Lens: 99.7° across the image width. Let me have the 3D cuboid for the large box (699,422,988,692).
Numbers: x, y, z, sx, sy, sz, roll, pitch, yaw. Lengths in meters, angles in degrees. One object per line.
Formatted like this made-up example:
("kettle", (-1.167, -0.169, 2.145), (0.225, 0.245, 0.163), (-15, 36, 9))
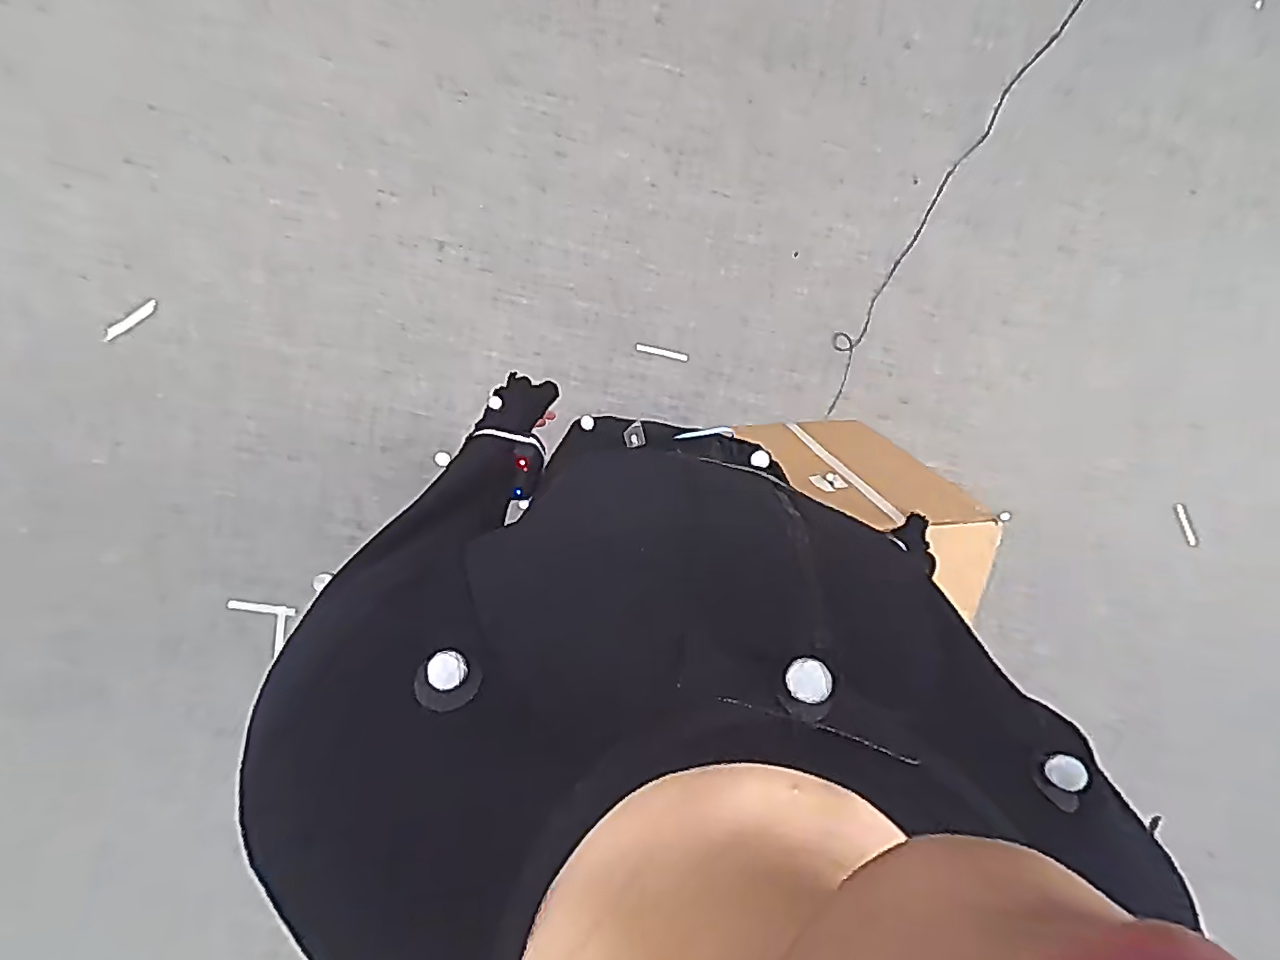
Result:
("large box", (0.315, 0.112, 0.992), (0.320, 0.408, 0.320), (-4, 119, -8))
